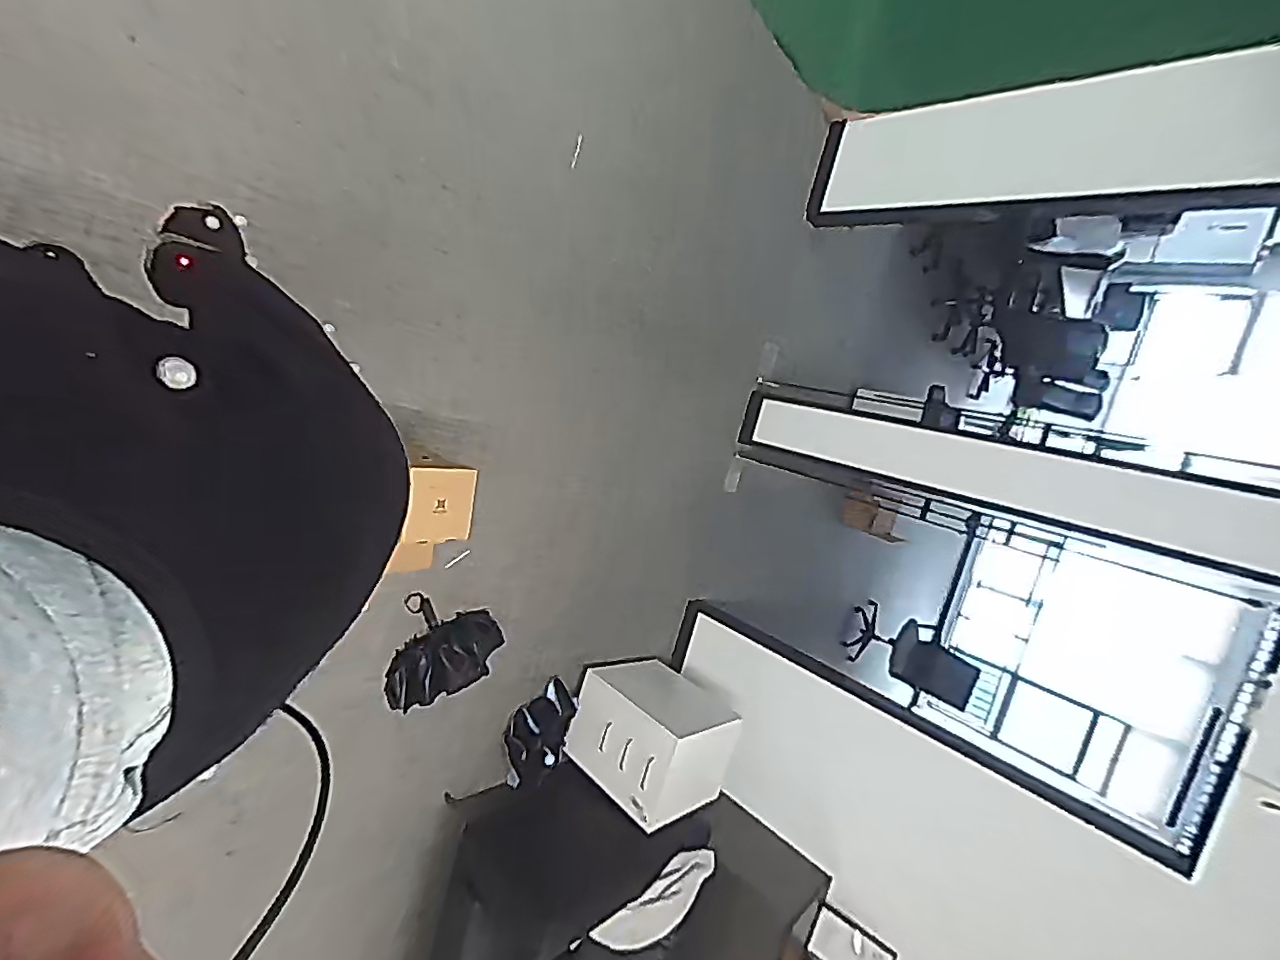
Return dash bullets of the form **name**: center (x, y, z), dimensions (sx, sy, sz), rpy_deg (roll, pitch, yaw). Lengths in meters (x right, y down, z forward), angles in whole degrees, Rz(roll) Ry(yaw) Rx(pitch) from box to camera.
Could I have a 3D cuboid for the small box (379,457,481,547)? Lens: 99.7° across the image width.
- **small box**: center (-0.507, 0.048, 1.292), dimensions (0.168, 0.176, 0.179), rpy_deg (0, 101, -48)
